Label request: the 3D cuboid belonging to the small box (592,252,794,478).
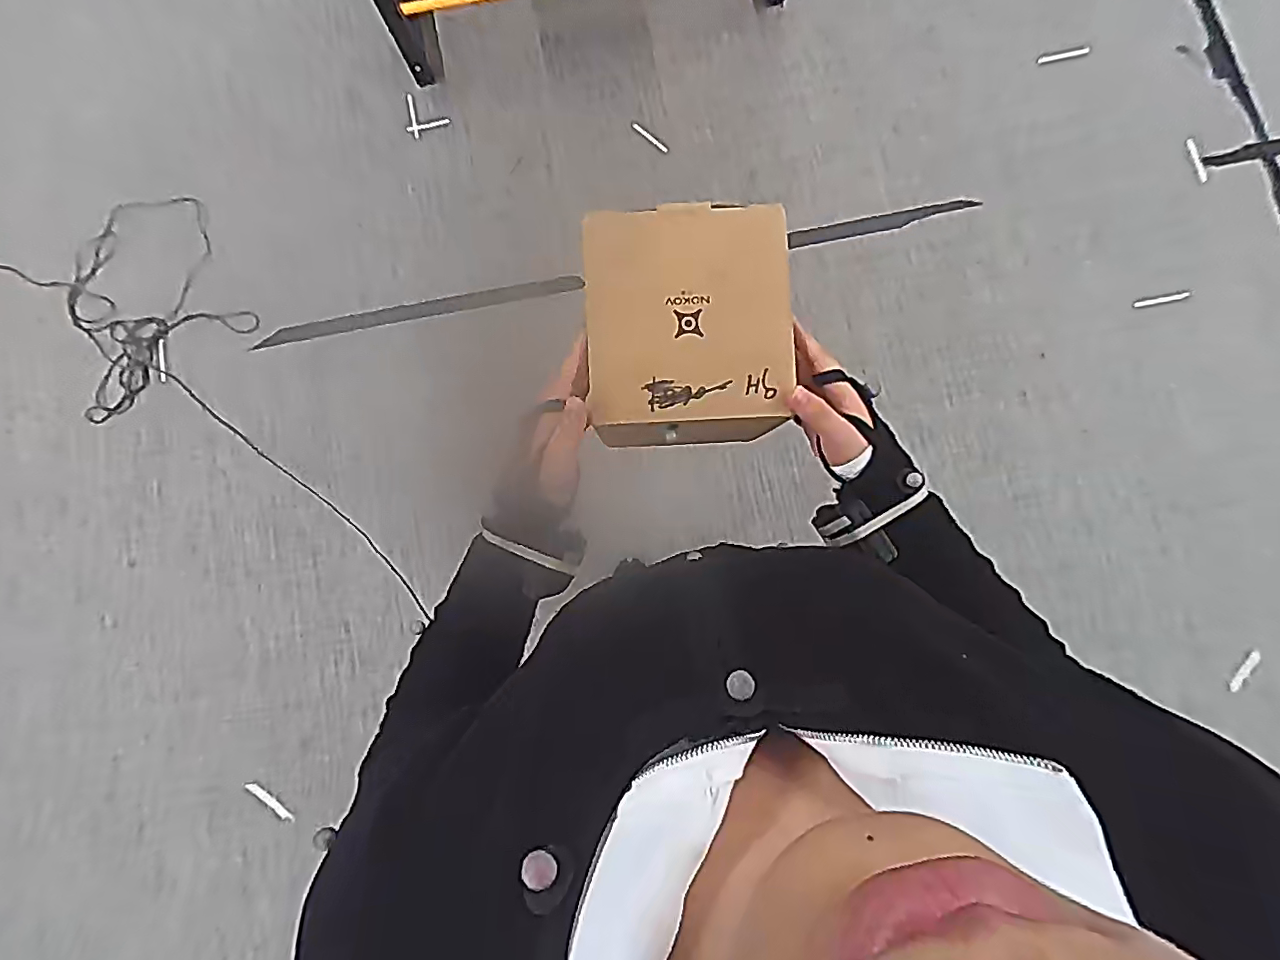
[{"bbox_3d":[0.041,-0.098,0.525,0.168,0.176,0.179,-3,87,0],"label":"small box"}]
